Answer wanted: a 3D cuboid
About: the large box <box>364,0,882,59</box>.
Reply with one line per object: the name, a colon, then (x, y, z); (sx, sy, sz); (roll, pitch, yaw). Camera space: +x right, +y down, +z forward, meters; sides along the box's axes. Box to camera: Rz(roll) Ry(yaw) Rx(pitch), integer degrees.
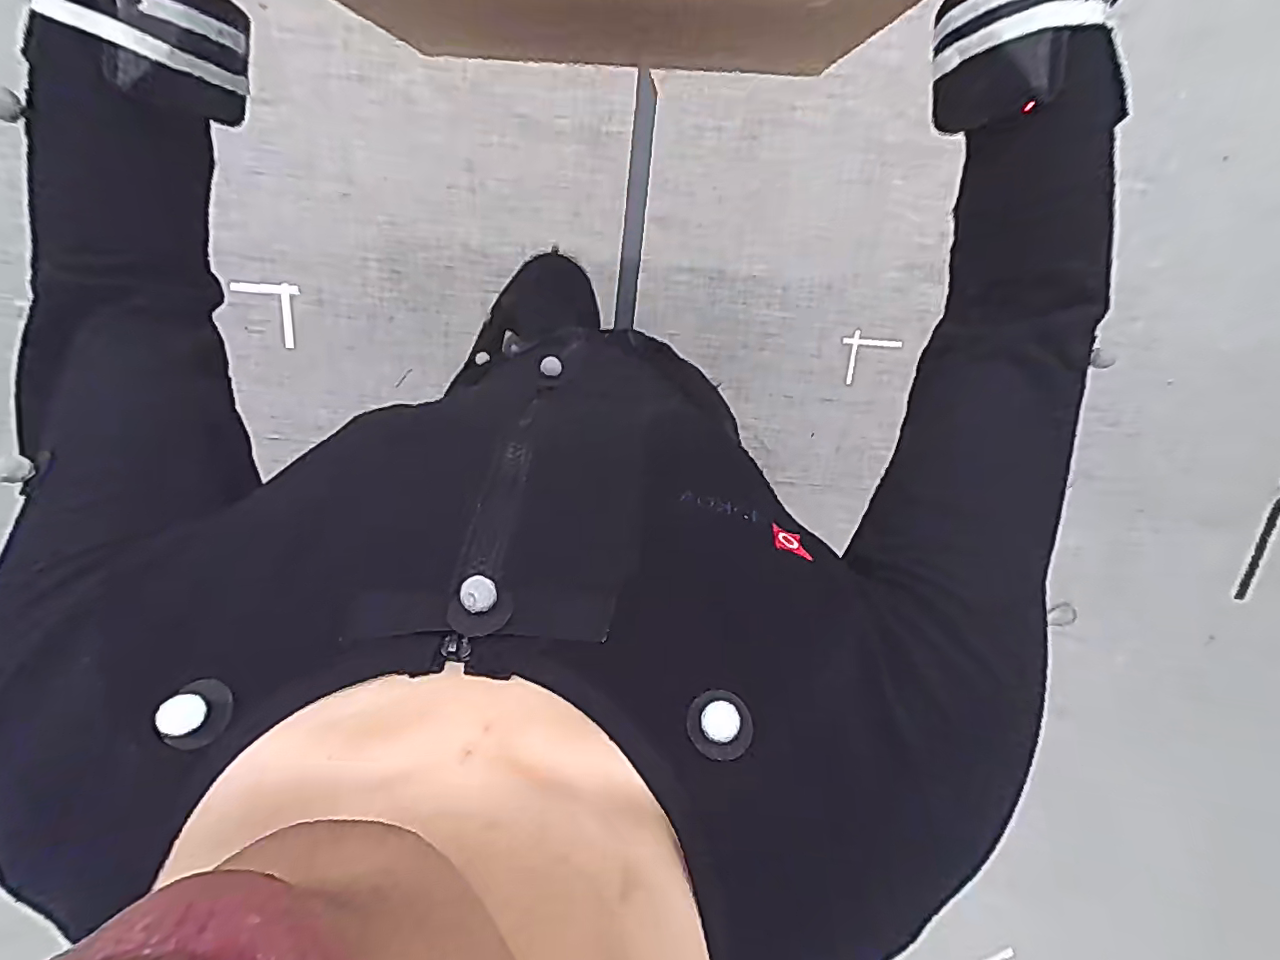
large box: (-0.016, -0.494, 0.342); (0.408, 0.320, 0.320); (2, 118, 0)
